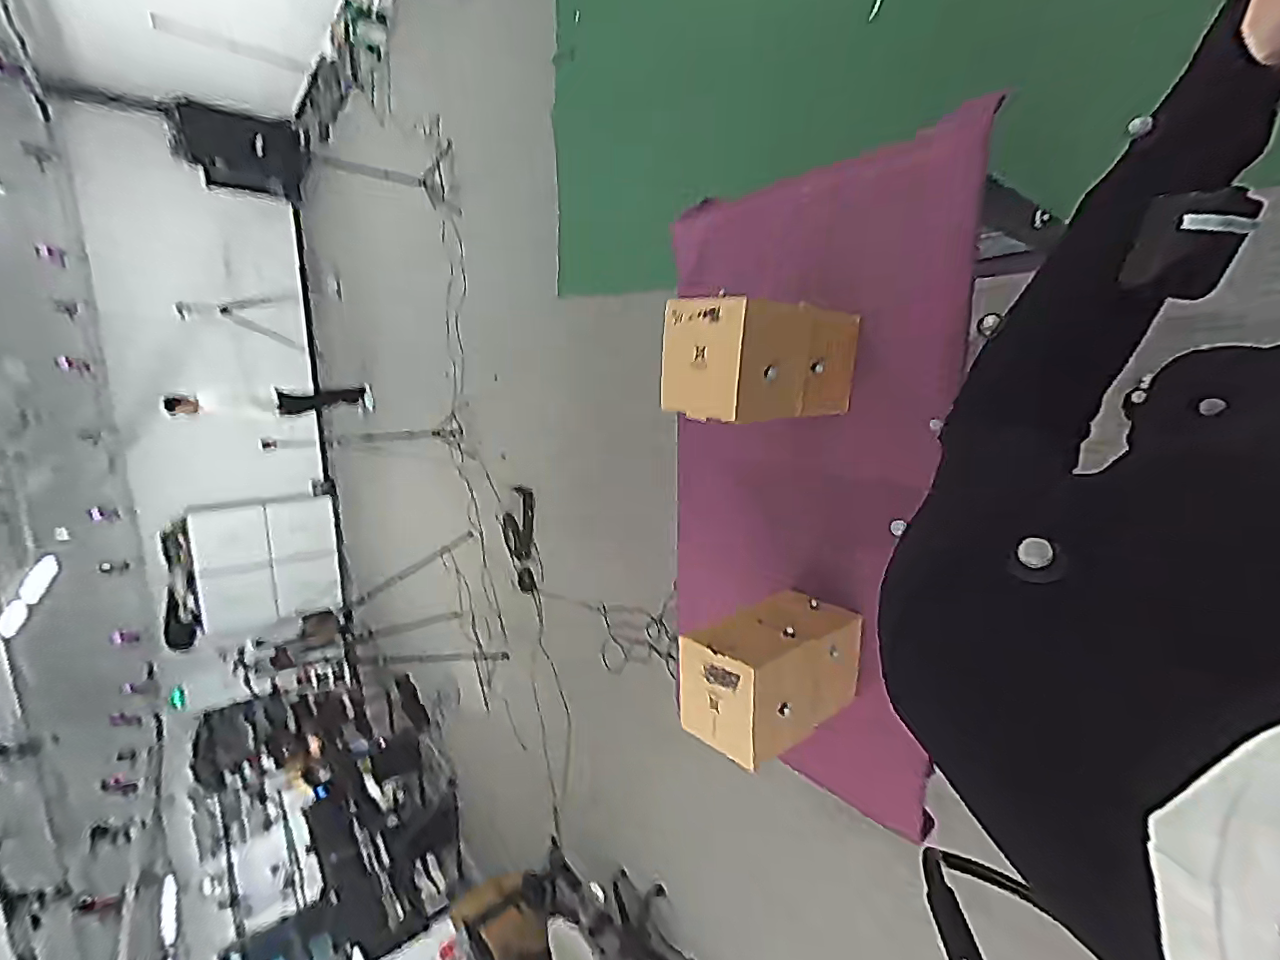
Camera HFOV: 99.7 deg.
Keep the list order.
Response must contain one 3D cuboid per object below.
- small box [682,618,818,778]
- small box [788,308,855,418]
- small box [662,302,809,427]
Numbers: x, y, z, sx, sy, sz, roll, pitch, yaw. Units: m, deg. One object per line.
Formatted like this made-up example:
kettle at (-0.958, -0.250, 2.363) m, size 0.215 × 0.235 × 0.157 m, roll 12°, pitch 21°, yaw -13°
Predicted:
small box at (0.189, 0.354, 0.925) m, size 0.168 × 0.176 × 0.179 m, roll 7°, pitch 103°, yaw 49°
small box at (0.269, -0.213, 0.980) m, size 0.168 × 0.176 × 0.179 m, roll 17°, pitch 111°, yaw 46°
small box at (0.153, -0.190, 0.867) m, size 0.168 × 0.176 × 0.179 m, roll 18°, pitch 112°, yaw 46°
